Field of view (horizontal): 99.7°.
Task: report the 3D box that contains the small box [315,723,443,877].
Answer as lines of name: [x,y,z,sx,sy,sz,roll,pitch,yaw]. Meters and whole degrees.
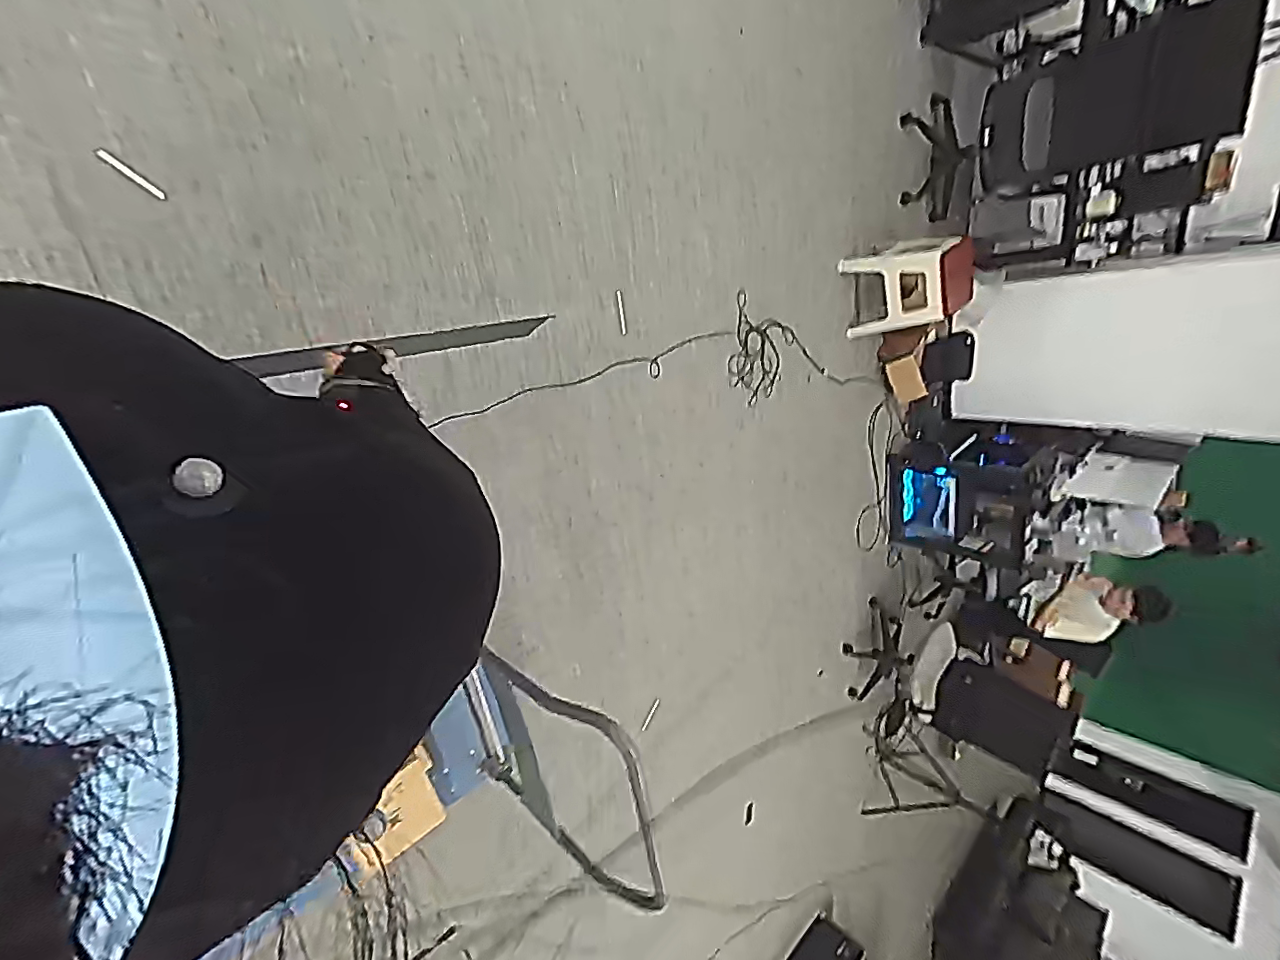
small box: [-0.537,0.645,1.112,0.168,0.176,0.179,-27,115,-34]
